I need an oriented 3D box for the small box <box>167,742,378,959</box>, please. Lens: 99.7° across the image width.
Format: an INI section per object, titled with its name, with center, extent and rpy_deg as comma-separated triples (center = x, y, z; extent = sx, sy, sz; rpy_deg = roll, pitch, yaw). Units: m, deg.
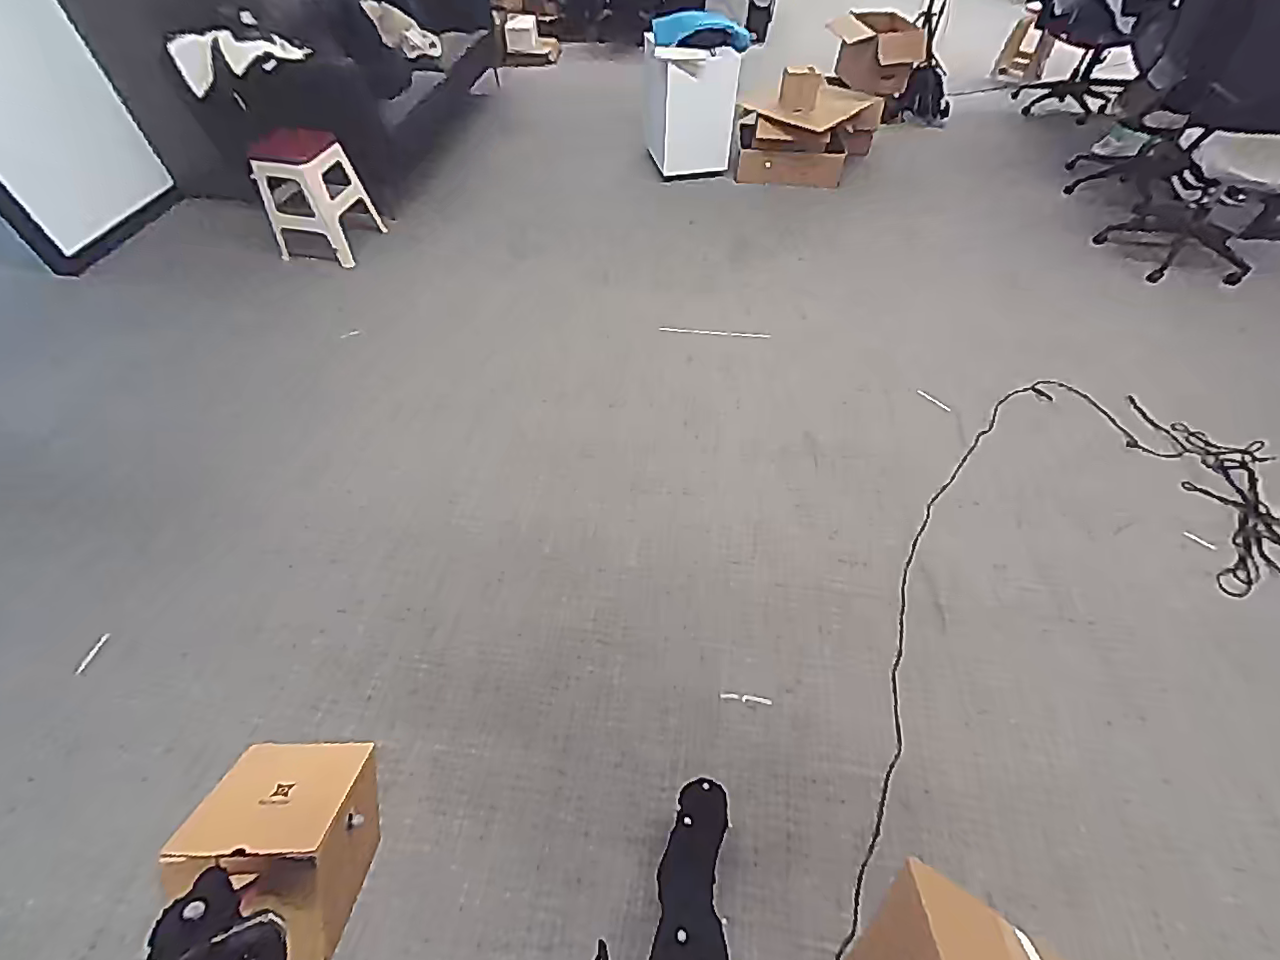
[small box]
center = -0.454, 0.470, 0.698
extent = 0.168, 0.176, 0.179
rpy_deg = 2, 14, -6
